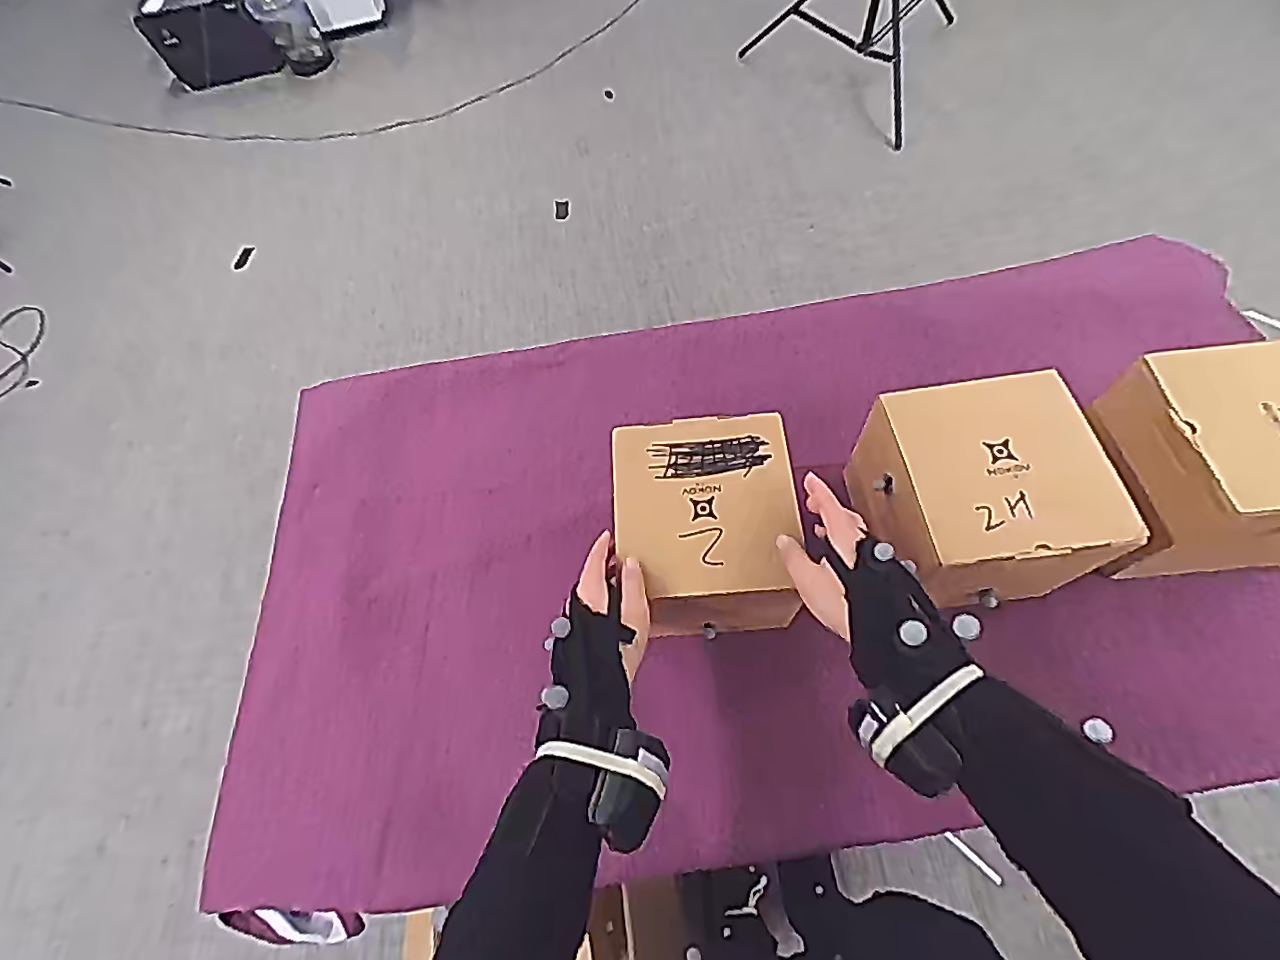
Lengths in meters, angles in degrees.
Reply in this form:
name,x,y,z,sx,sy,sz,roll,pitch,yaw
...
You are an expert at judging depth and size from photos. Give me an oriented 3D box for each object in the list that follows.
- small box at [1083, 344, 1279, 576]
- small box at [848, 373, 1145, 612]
name,x,y,z,sx,sy,sz,roll,pitch,yaw
small box,0.564,-0.012,0.533,0.179,0.176,0.168,-6,61,5
small box,0.326,0.020,0.546,0.168,0.176,0.179,-8,62,4
